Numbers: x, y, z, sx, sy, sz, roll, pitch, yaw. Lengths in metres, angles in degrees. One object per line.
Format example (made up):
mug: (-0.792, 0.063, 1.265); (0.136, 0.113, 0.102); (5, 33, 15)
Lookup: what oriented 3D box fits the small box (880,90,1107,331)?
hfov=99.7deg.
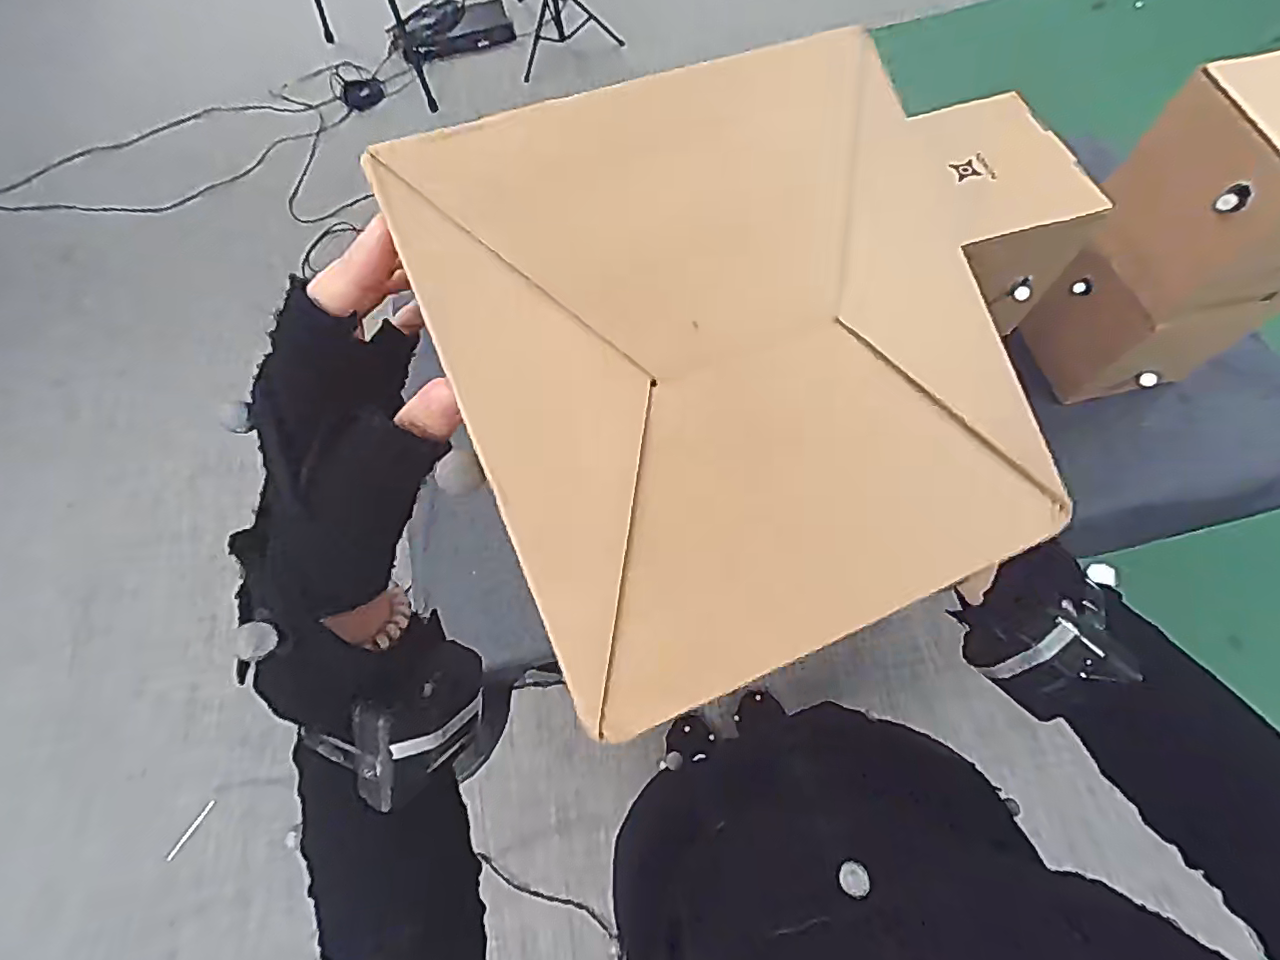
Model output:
small box: (0.300, -0.249, 0.558); (0.179, 0.176, 0.168); (-14, 67, 0)

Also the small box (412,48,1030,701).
small box: (0.019, -0.036, 0.241); (0.168, 0.176, 0.179); (-22, 87, -11)

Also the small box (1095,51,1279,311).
small box: (0.618, -0.291, 0.545); (0.168, 0.176, 0.179); (-10, 67, 1)
